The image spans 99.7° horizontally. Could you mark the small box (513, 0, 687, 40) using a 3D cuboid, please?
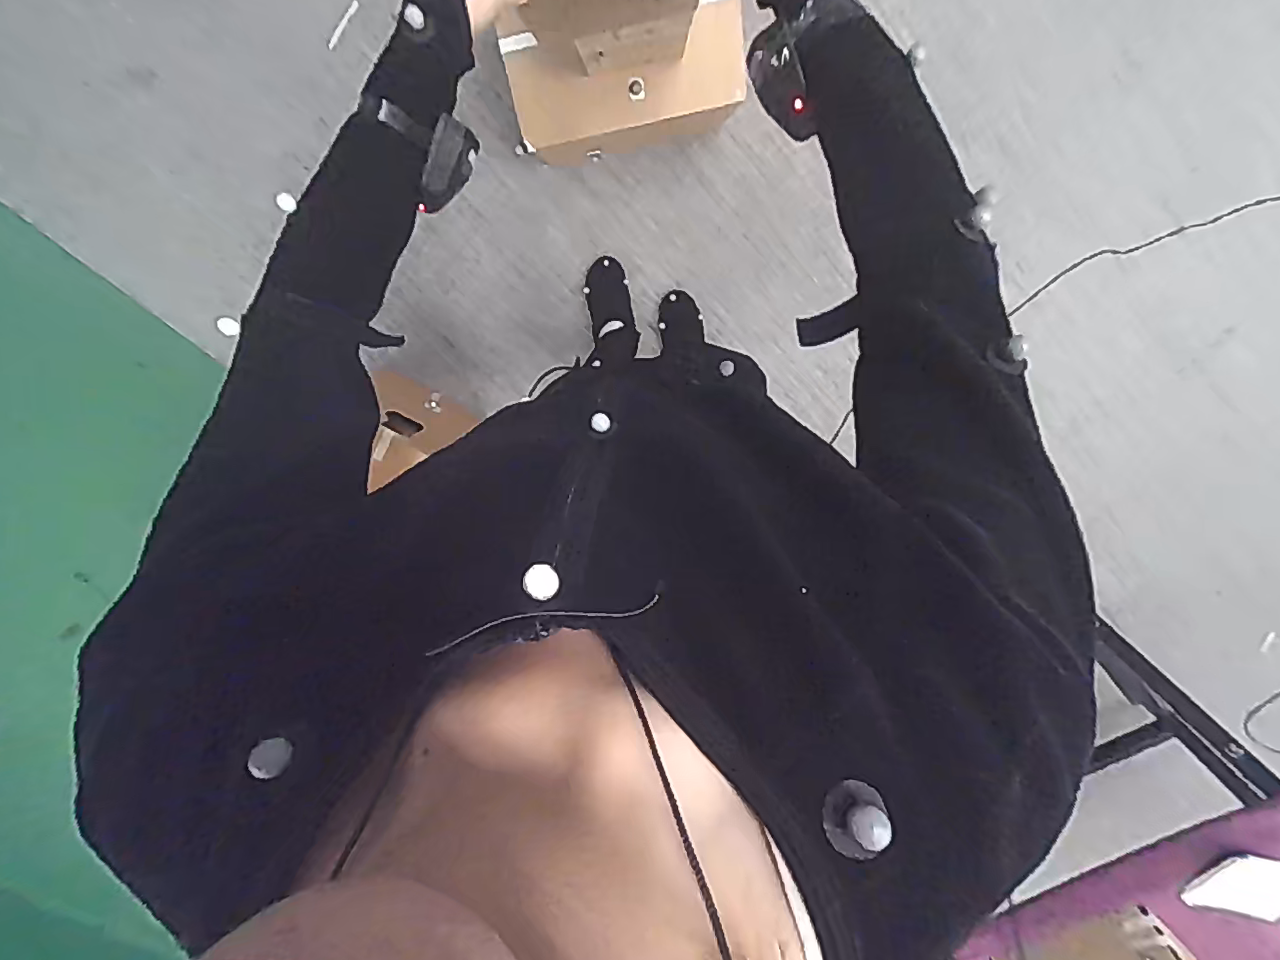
[{"bbox_3d":[-0.038,-0.519,0.468,0.179,0.176,0.168,-9,115,5],"label":"small box"}]

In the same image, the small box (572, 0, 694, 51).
[{"bbox_3d":[-0.024,-0.658,0.659,0.168,0.176,0.179,-9,114,5],"label":"small box"}]
